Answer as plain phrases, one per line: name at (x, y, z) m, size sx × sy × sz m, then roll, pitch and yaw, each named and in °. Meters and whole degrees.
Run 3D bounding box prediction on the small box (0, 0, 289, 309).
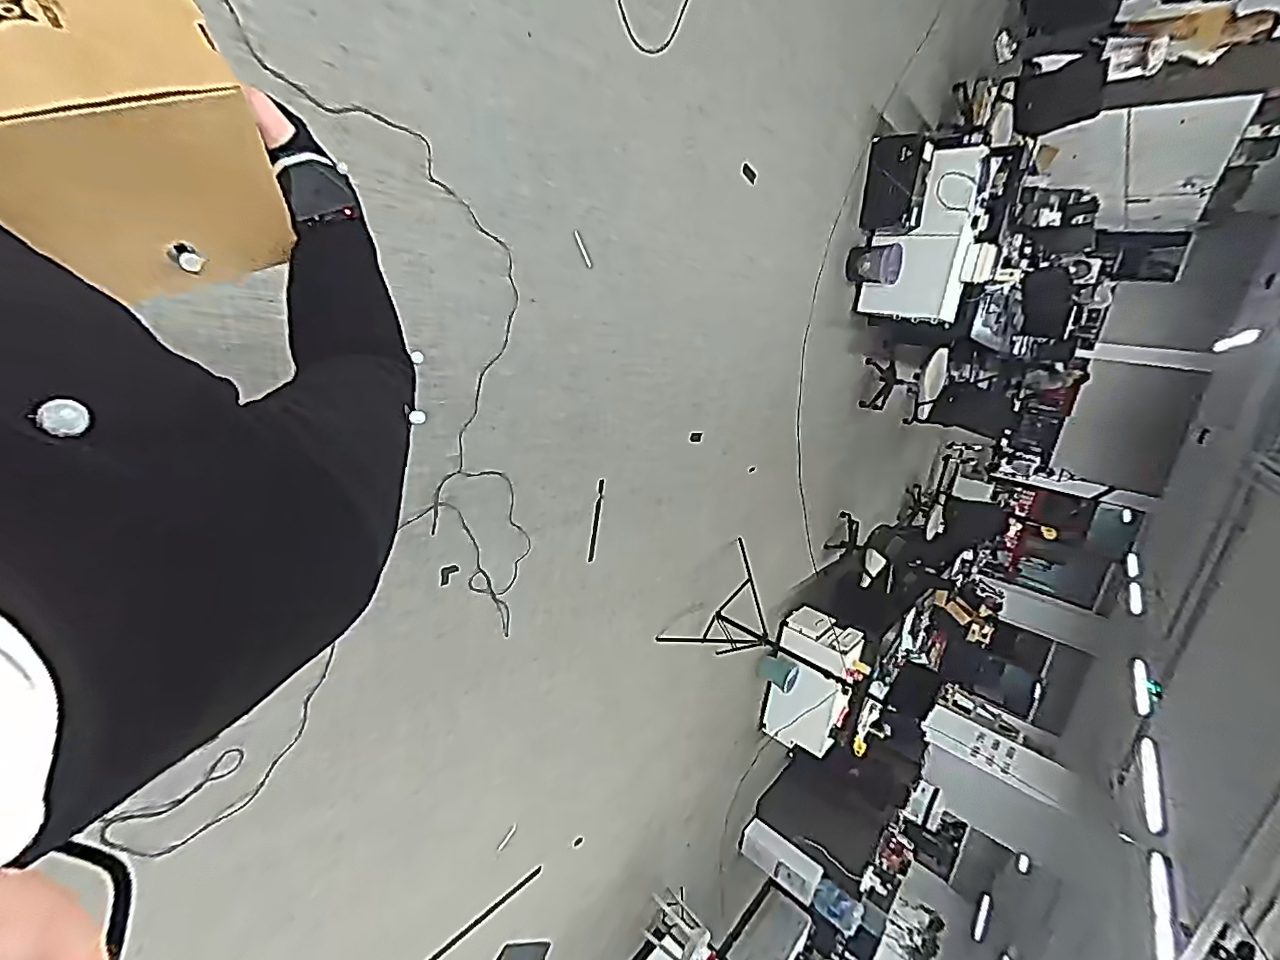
small box at (-0.414, -0.271, 0.431) m, size 0.179 × 0.168 × 0.176 m, roll -31°, pitch 172°, yaw -27°
